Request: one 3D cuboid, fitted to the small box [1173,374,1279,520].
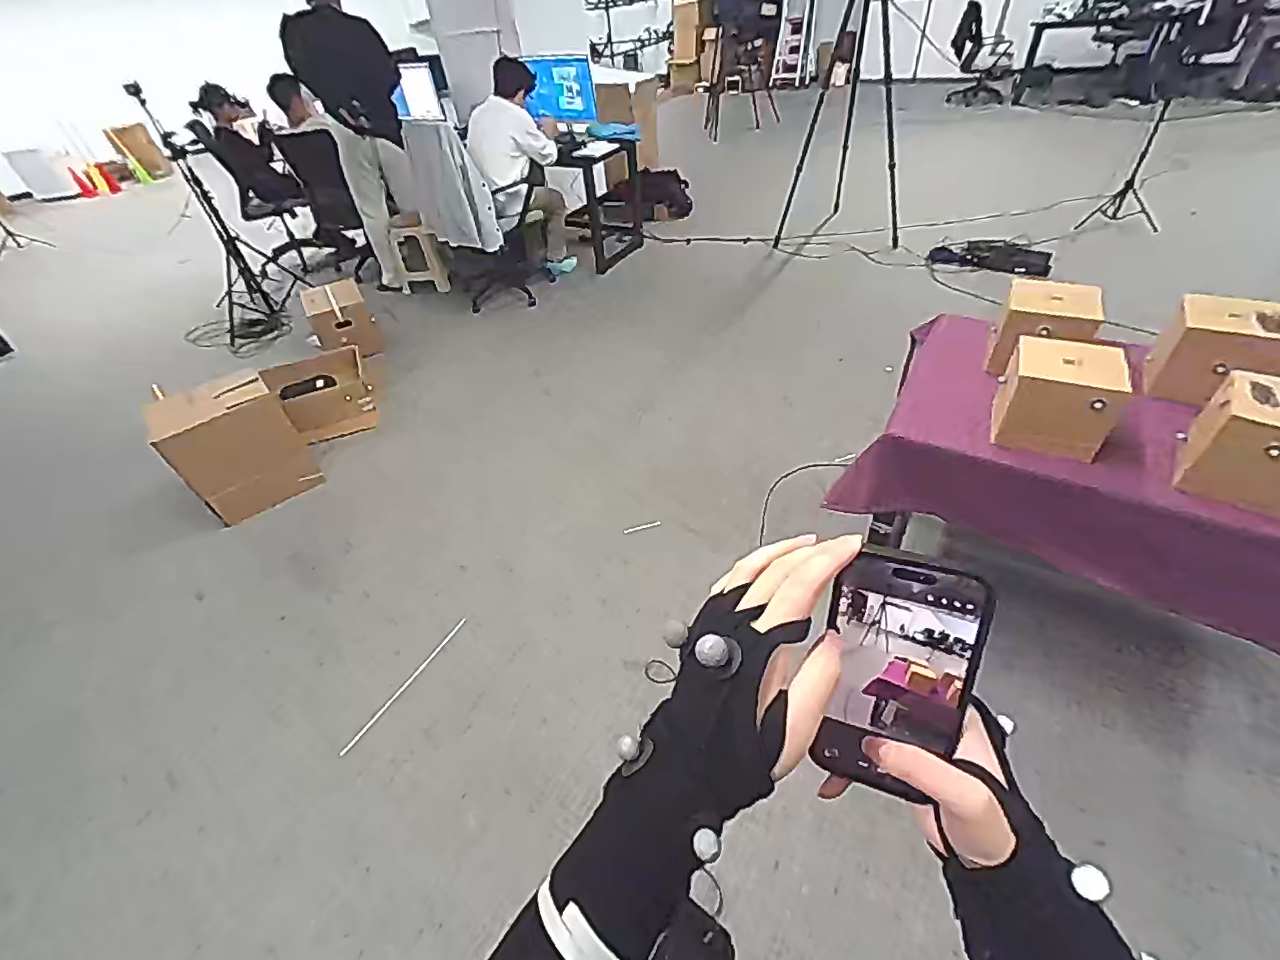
[{"bbox_3d":[1.087,-0.056,0.942,0.179,0.176,0.168,26,52,30],"label":"small box"}]

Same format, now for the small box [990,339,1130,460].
[{"bbox_3d":[0.833,-0.162,1.092,0.179,0.176,0.168,17,47,22],"label":"small box"}]
